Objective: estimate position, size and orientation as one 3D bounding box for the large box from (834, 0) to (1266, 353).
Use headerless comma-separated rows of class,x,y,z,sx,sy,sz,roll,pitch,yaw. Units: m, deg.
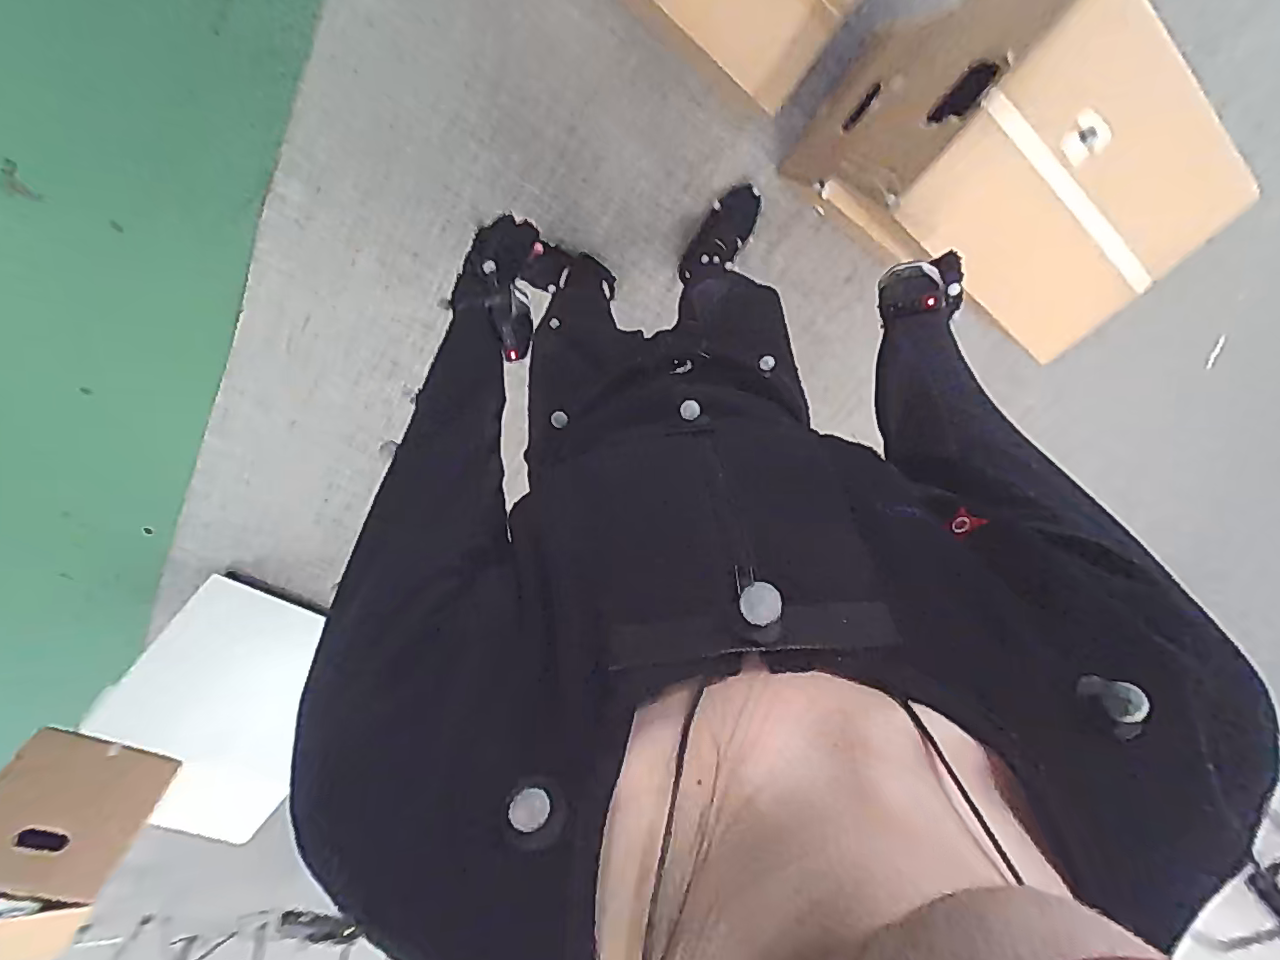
large box,0.586,-0.478,0.842,0.408,0.320,0.320,30,122,-20
